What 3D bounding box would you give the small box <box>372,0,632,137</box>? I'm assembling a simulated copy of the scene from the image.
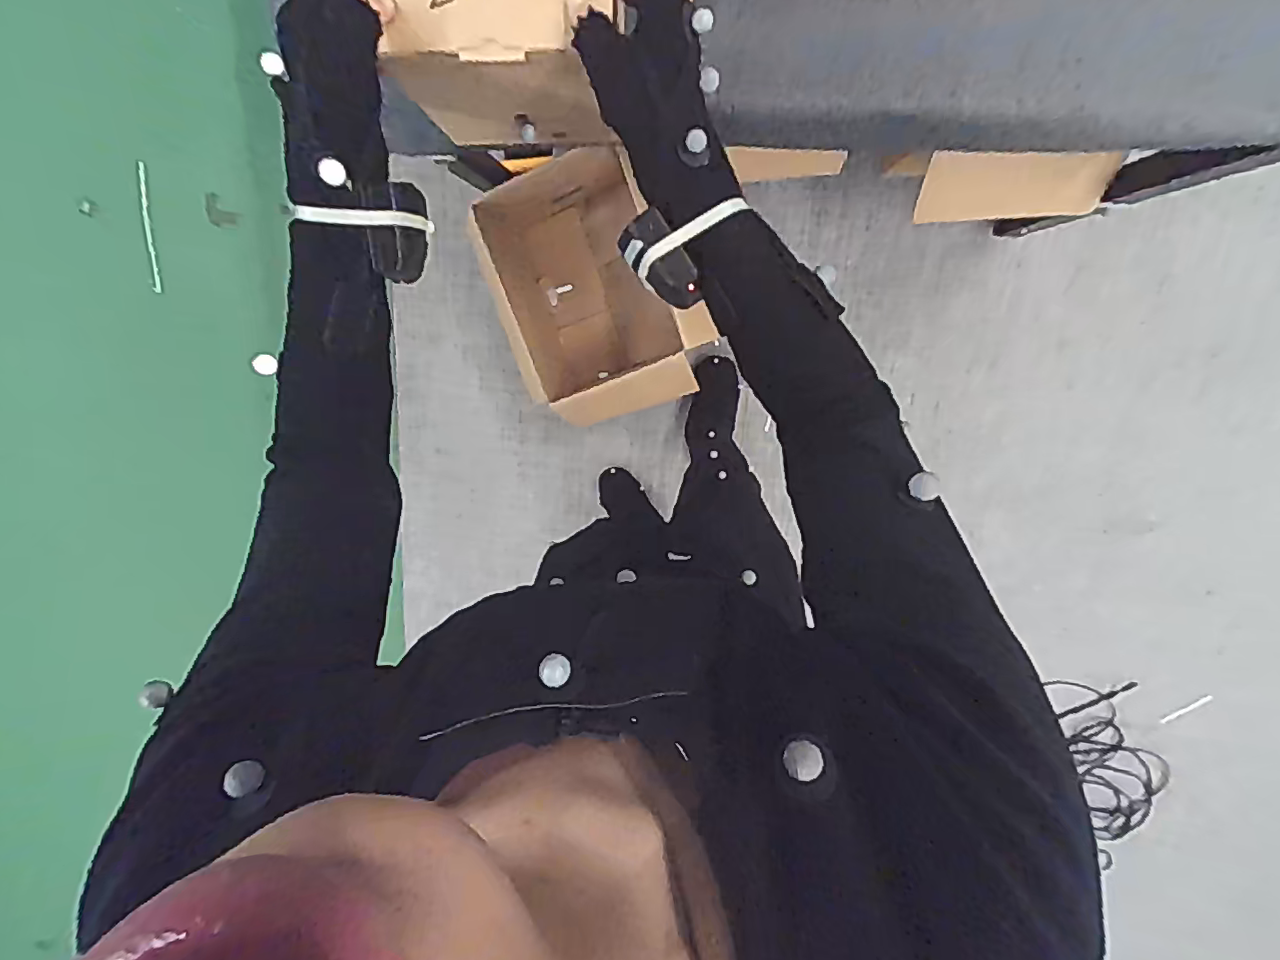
[{"bbox_3d":[-0.094,-0.394,0.418,0.168,0.176,0.179,0,105,2],"label":"small box"}]
